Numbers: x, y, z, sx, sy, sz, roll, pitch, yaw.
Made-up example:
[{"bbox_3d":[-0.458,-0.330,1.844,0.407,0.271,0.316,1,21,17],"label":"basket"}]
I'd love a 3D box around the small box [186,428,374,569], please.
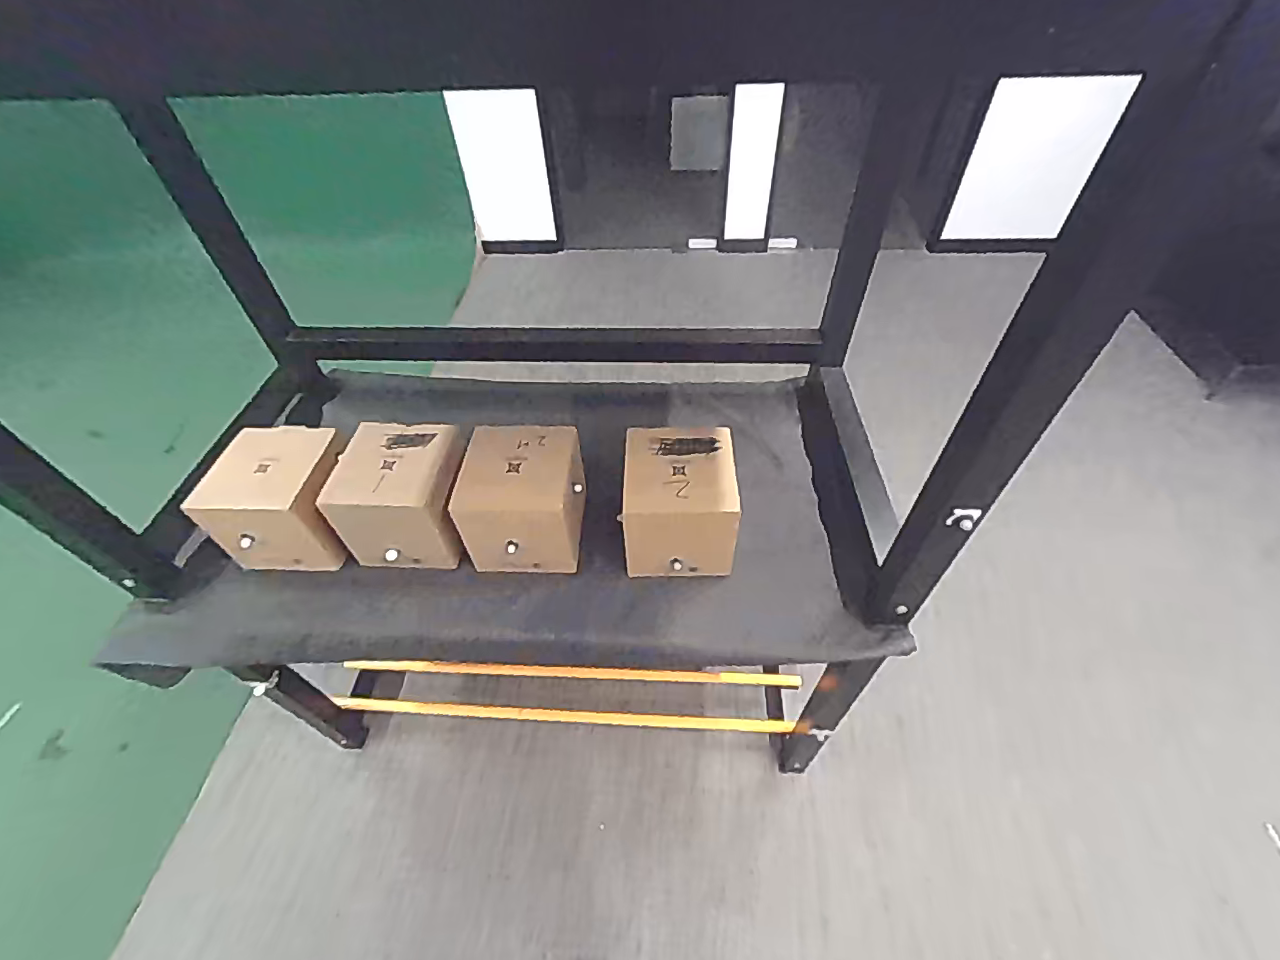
[{"bbox_3d":[-0.573,0.033,0.894,0.168,0.176,0.179,1,47,3],"label":"small box"}]
